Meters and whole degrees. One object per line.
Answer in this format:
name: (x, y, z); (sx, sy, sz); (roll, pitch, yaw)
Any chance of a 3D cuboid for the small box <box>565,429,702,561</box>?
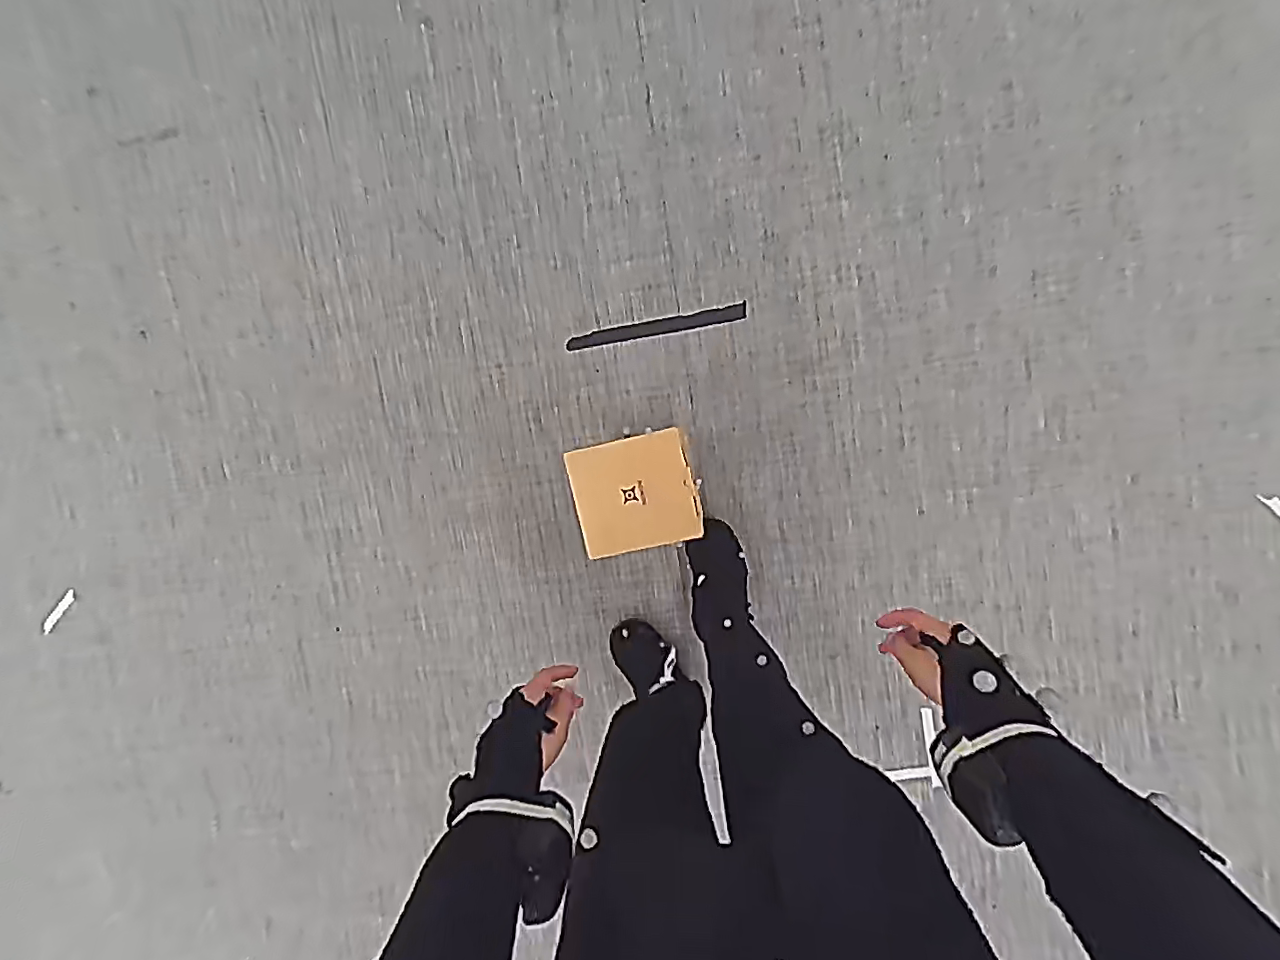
small box: (-0.002, 0.018, 0.864); (0.179, 0.176, 0.168); (-13, 94, 6)
